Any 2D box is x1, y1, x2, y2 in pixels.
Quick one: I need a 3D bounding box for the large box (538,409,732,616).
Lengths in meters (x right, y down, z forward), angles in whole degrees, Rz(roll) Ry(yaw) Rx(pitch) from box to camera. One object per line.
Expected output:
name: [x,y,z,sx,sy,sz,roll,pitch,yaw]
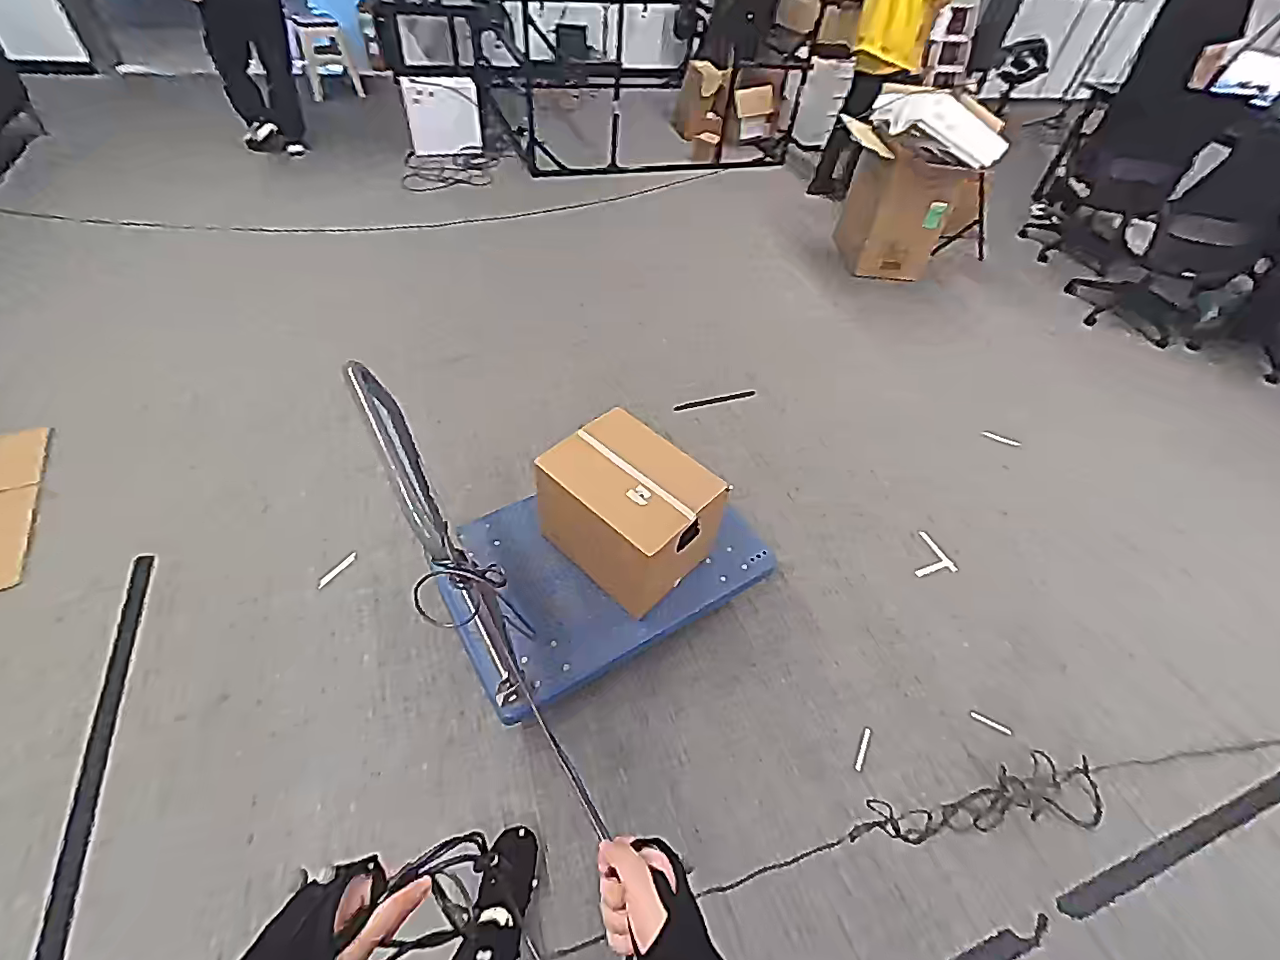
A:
large box: [-0.029,0.081,1.470,0.408,0.320,0.320,38,56,22]
